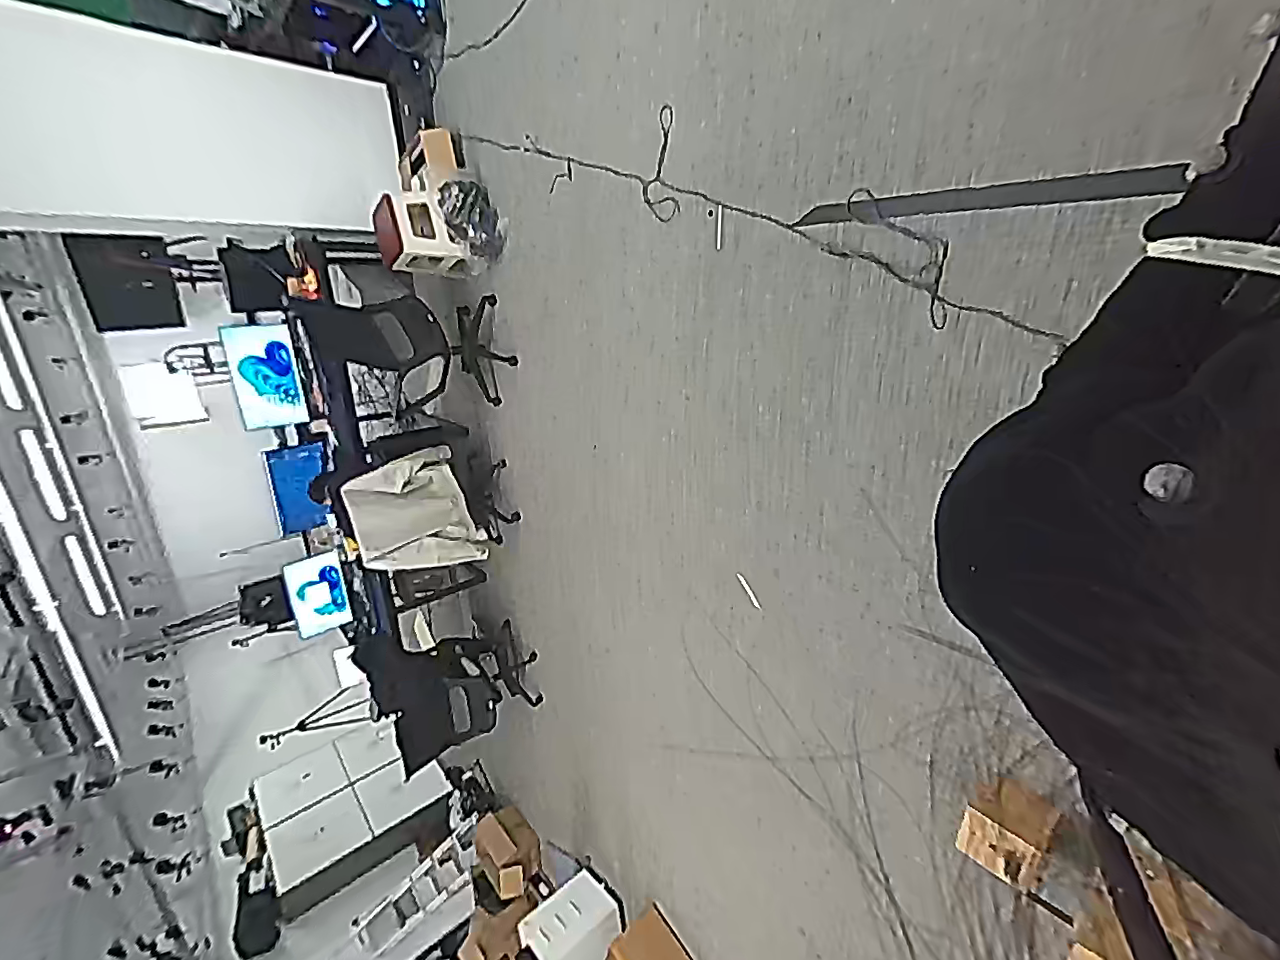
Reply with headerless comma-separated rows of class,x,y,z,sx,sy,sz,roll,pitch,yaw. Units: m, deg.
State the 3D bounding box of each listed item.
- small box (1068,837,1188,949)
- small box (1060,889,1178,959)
small box,1.166,1.016,1.291,0.168,0.176,0.179,23,121,43
small box,1.046,1.066,1.190,0.168,0.176,0.179,19,119,45
